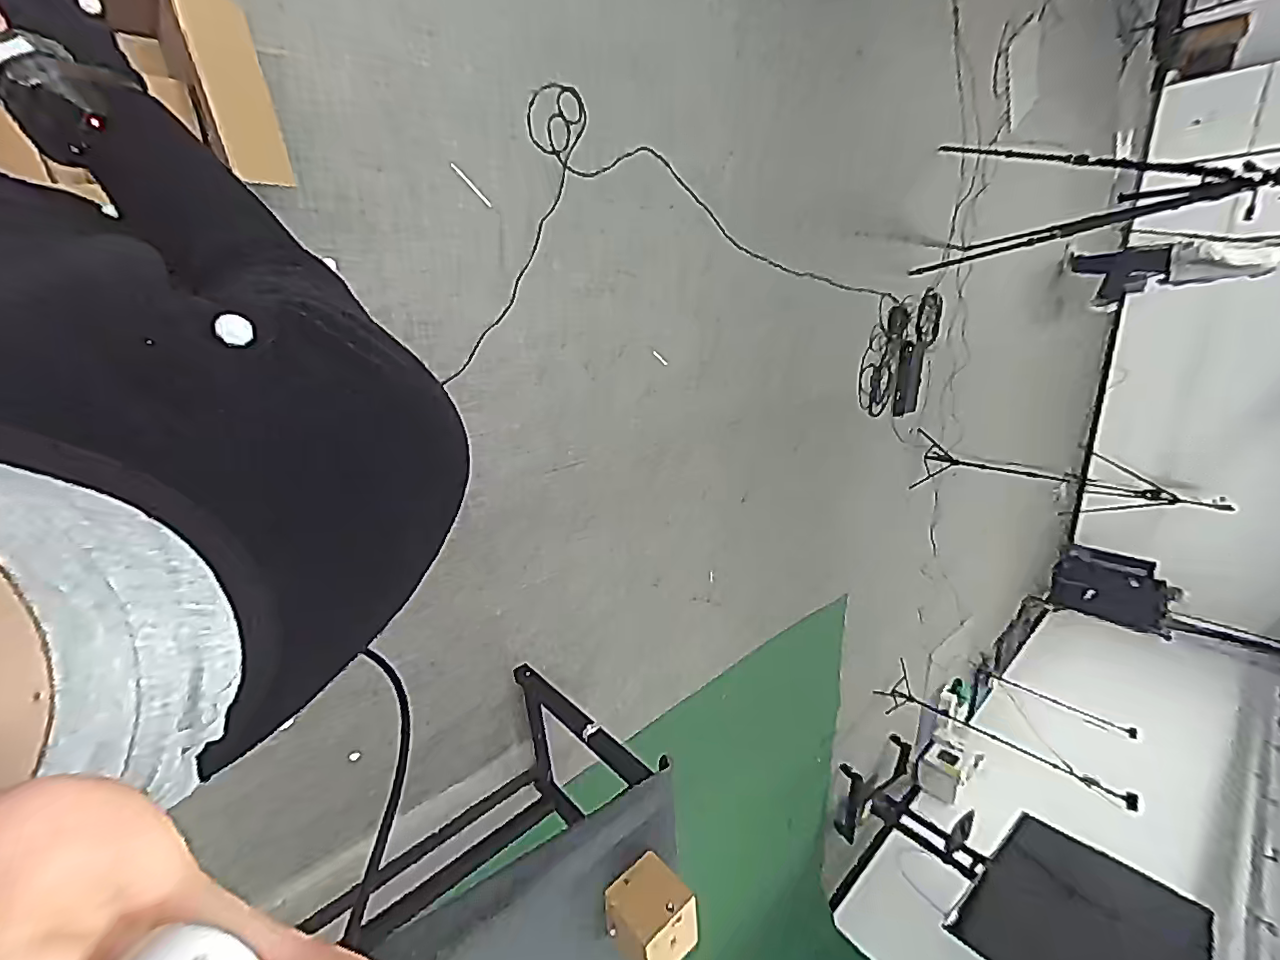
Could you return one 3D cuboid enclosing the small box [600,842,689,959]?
[{"bbox_3d":[0.011,1.103,1.406,0.168,0.176,0.179,-21,117,-38],"label":"small box"}]
